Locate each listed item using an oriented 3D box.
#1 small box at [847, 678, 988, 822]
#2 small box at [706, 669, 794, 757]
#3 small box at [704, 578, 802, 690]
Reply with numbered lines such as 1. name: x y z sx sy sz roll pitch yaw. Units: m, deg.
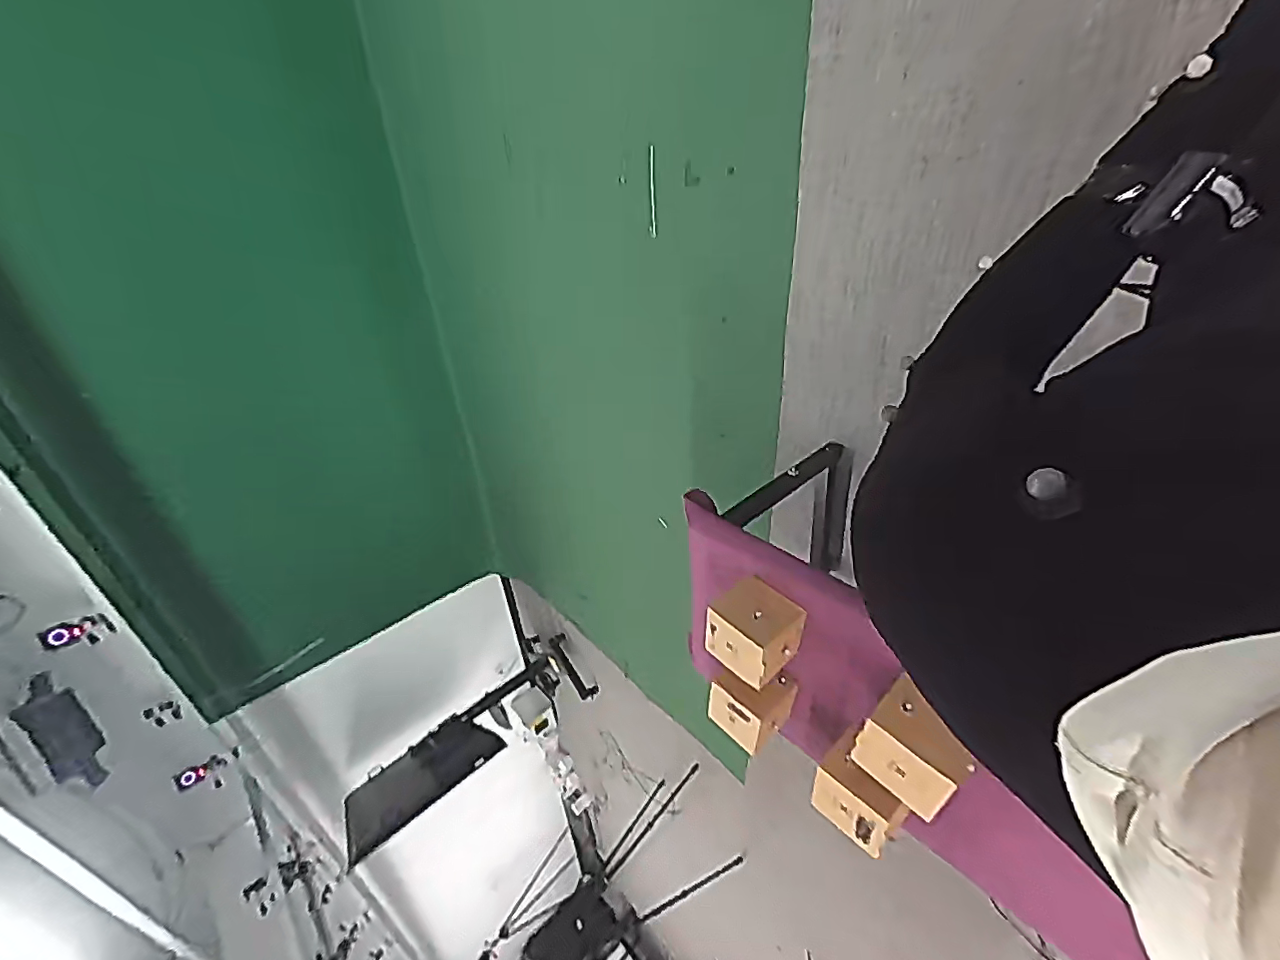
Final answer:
1. small box: 0.560 0.533 1.098 0.179 0.176 0.168 34 139 35
2. small box: 0.305 0.610 1.495 0.168 0.176 0.179 33 137 37
3. small box: 0.283 0.378 1.357 0.179 0.176 0.168 31 137 37
